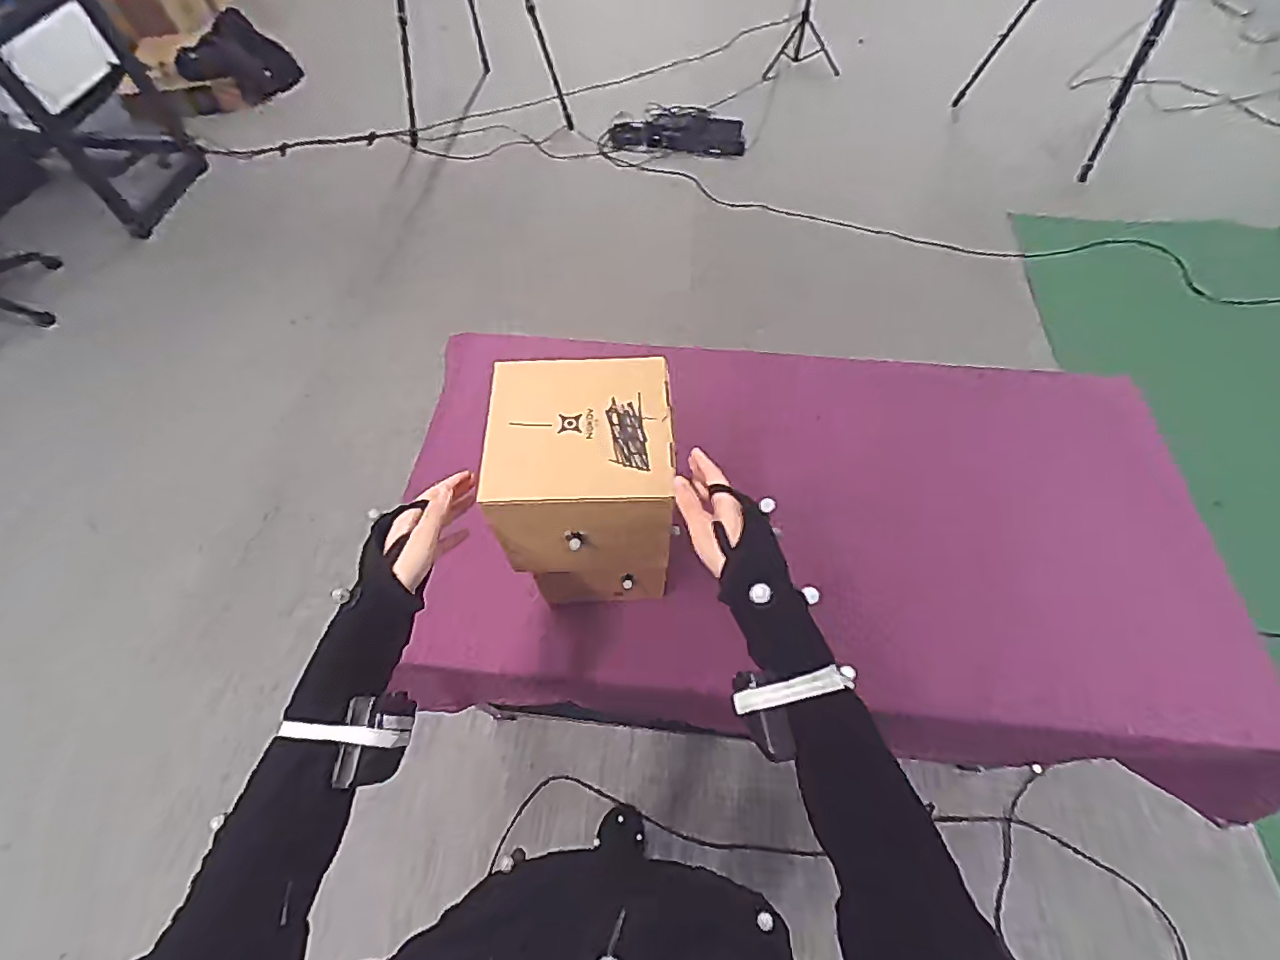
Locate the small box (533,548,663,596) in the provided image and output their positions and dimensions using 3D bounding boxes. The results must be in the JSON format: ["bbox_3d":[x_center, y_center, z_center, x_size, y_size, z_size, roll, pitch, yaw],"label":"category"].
[{"bbox_3d":[-0.054,0.052,0.731,0.168,0.176,0.179,-1,58,-1],"label":"small box"}]

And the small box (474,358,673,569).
[{"bbox_3d":[-0.060,-0.011,0.578,0.179,0.176,0.168,-1,59,0],"label":"small box"}]
